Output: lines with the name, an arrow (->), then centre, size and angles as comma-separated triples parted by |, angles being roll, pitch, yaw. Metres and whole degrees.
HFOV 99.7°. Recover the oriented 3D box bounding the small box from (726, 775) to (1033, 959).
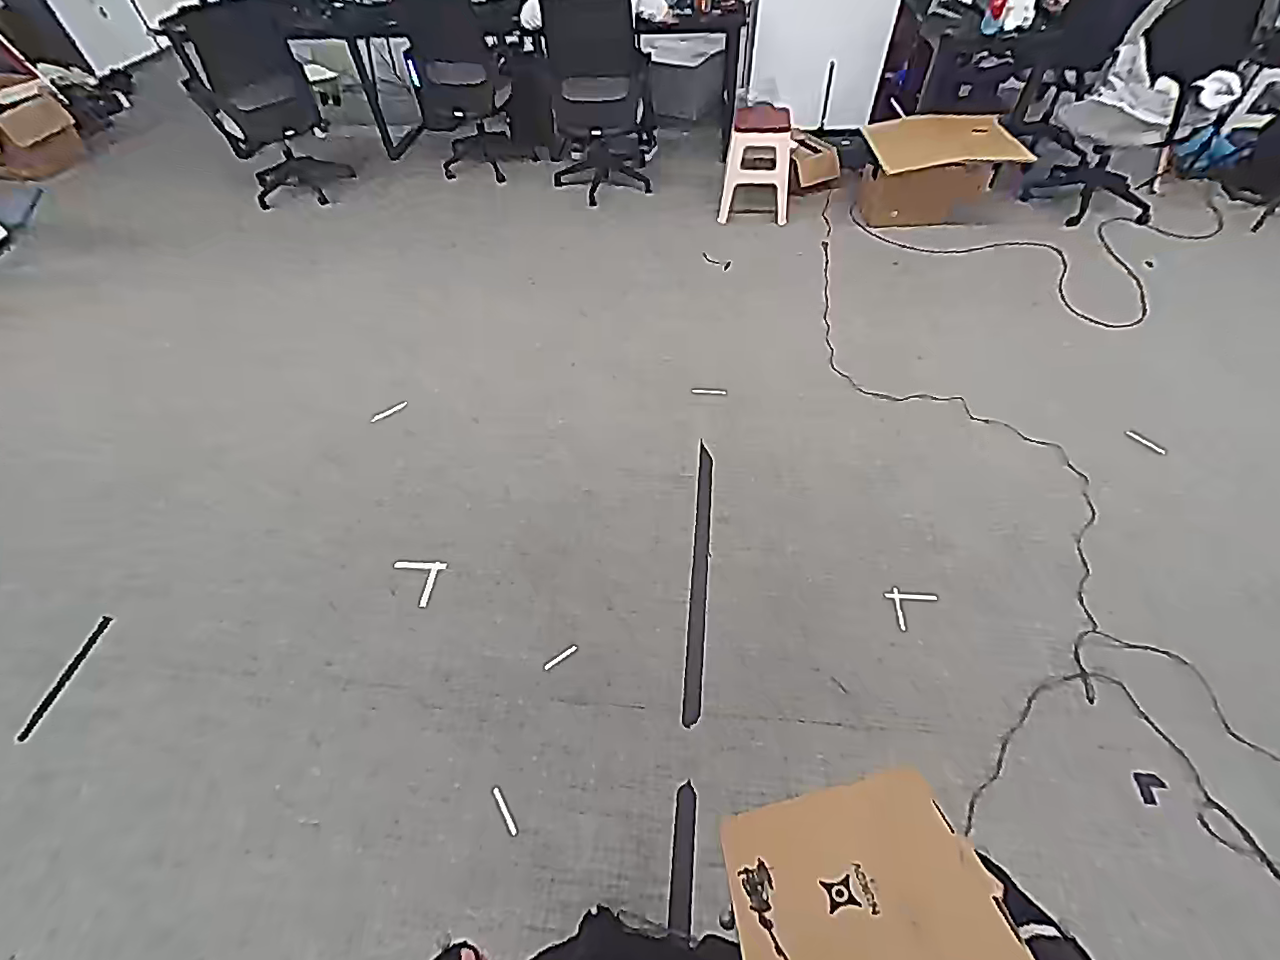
small box -> 0.182, 0.376, 0.417 | 0.179, 0.176, 0.168 | -18, 16, 4
